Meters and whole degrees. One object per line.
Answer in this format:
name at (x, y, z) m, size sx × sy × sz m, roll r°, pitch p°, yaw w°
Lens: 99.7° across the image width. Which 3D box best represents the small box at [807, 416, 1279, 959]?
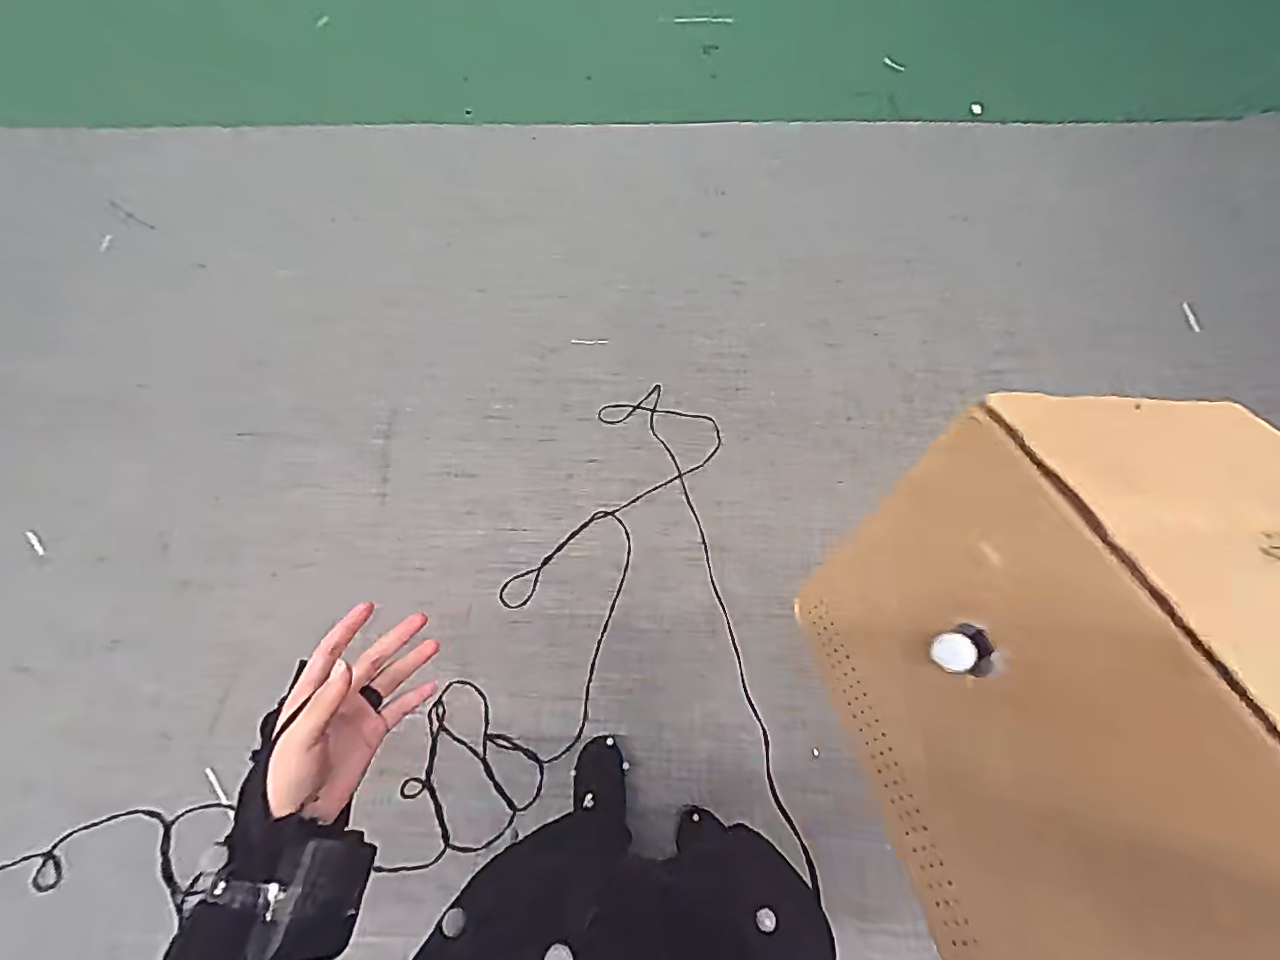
small box at (0.206, 0.091, 0.245) m, size 0.168 × 0.176 × 0.179 m, roll -3°, pitch 50°, yaw -19°
